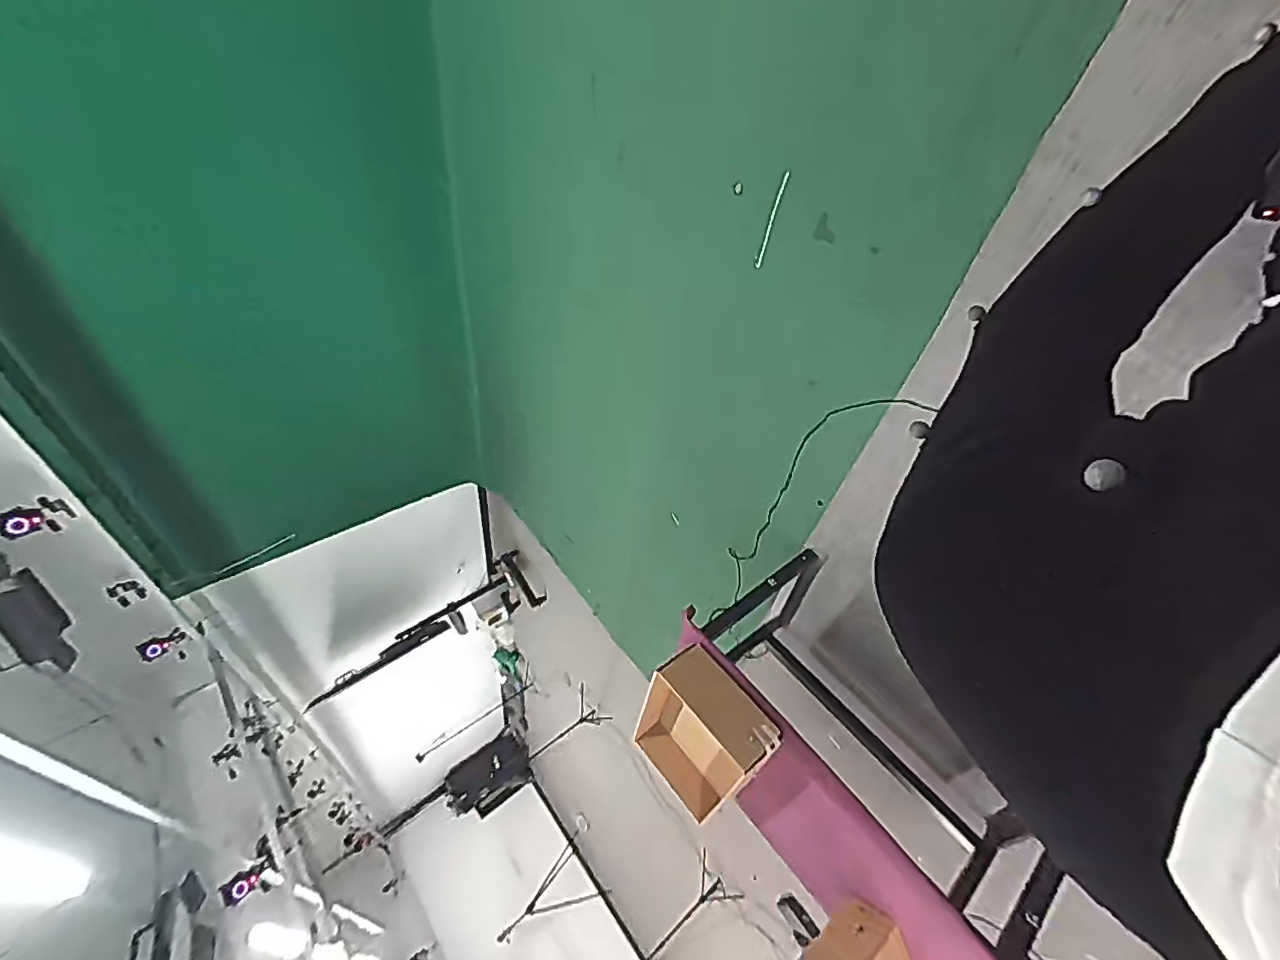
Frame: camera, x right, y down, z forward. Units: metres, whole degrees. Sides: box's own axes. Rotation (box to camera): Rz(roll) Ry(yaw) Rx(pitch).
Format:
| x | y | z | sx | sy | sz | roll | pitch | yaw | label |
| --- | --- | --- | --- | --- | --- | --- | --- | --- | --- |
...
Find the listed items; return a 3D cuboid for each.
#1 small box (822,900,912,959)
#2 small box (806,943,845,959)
| x | y | z | sx | sy | sz | roll | pitch | yaw | label |
| --- | --- | --- | --- | --- | --- | --- | --- | --- | --- |
| 0.676 | 1.402 | 1.589 | 0.168 | 0.176 | 0.179 | -13 | 101 | 58 | small box |
| 0.547 | 1.463 | 1.510 | 0.179 | 0.176 | 0.168 | -13 | 100 | 58 | small box |
